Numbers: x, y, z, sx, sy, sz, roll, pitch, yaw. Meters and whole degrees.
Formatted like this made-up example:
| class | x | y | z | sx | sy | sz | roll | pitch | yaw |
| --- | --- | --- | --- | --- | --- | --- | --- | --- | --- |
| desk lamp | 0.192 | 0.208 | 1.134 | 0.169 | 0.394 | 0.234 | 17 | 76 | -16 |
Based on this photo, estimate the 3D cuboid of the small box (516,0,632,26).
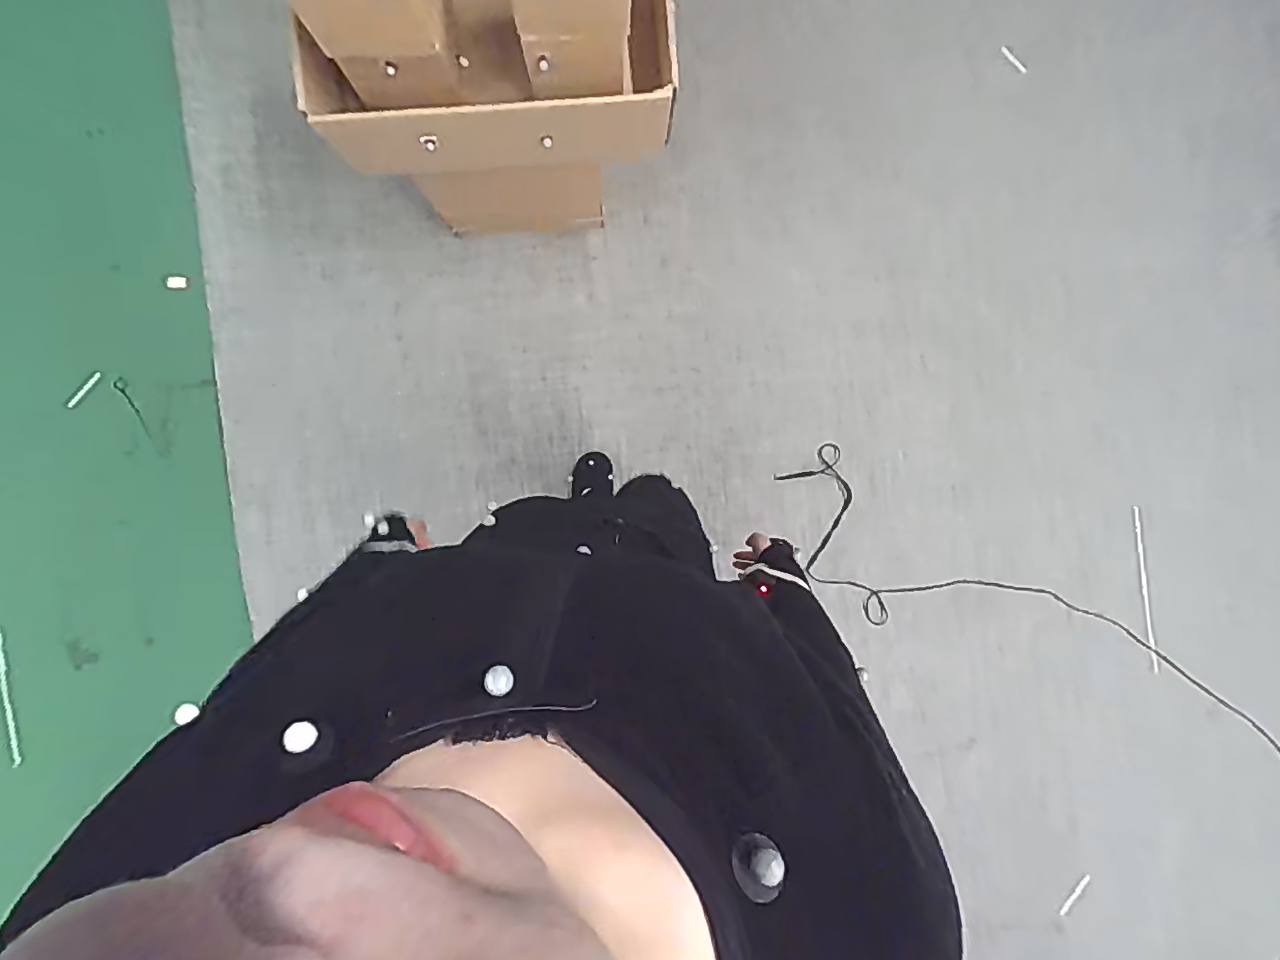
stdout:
| class | x | y | z | sx | sy | sz | roll | pitch | yaw |
| --- | --- | --- | --- | --- | --- | --- | --- | --- | --- |
| small box | -0.098 | -0.782 | 0.756 | 0.179 | 0.176 | 0.168 | -2 | 92 | -3 |

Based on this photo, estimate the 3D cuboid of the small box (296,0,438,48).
| class | x | y | z | sx | sy | sz | roll | pitch | yaw |
| --- | --- | --- | --- | --- | --- | --- | --- | --- | --- |
| small box | -0.399 | -0.743 | 0.750 | 0.179 | 0.176 | 0.168 | -3 | 92 | -3 |

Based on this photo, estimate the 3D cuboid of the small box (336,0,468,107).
| class | x | y | z | sx | sy | sz | roll | pitch | yaw |
| --- | --- | --- | --- | --- | --- | --- | --- | --- | --- |
| small box | -0.404 | -0.764 | 0.912 | 0.179 | 0.176 | 0.168 | -4 | 92 | -3 |
